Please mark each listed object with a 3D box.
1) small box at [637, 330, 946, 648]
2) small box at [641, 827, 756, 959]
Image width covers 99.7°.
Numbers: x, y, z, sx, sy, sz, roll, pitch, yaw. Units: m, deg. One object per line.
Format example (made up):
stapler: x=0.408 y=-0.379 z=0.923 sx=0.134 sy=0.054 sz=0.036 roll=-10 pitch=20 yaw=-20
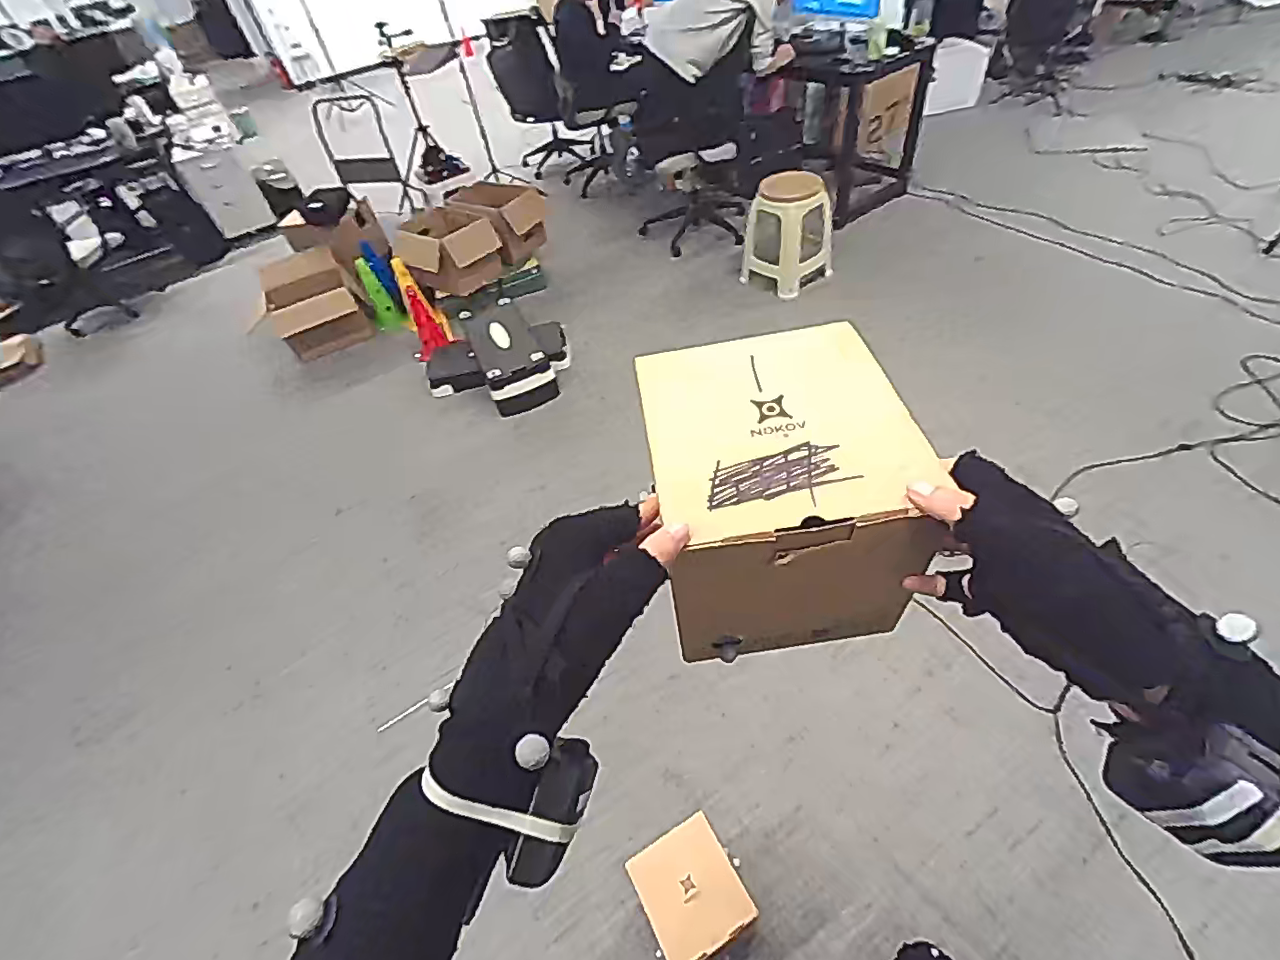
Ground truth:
small box: x=0.096 y=0.016 z=0.419 sx=0.168 sy=0.176 sz=0.179 roll=-9 pitch=50 yaw=2
small box: x=0.121 y=0.861 z=1.110 sx=0.168 sy=0.176 sz=0.179 roll=-27 pitch=49 yaw=-12
